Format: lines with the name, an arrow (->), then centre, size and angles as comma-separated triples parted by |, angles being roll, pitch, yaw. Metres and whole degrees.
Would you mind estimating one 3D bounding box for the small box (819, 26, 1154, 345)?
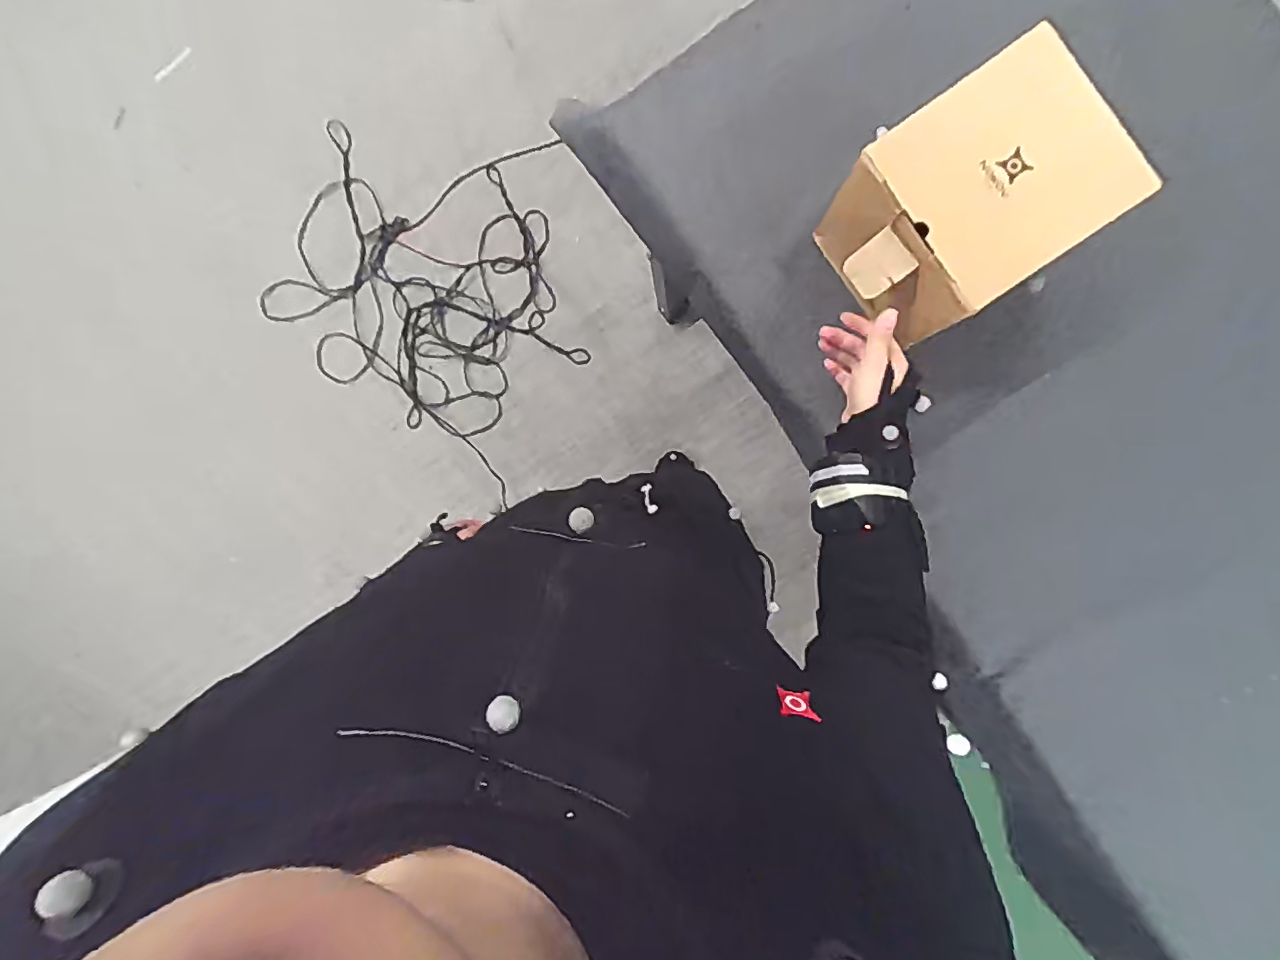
small box -> 0.304, -0.256, 0.520 | 0.179, 0.176, 0.168 | -35, 90, 5
